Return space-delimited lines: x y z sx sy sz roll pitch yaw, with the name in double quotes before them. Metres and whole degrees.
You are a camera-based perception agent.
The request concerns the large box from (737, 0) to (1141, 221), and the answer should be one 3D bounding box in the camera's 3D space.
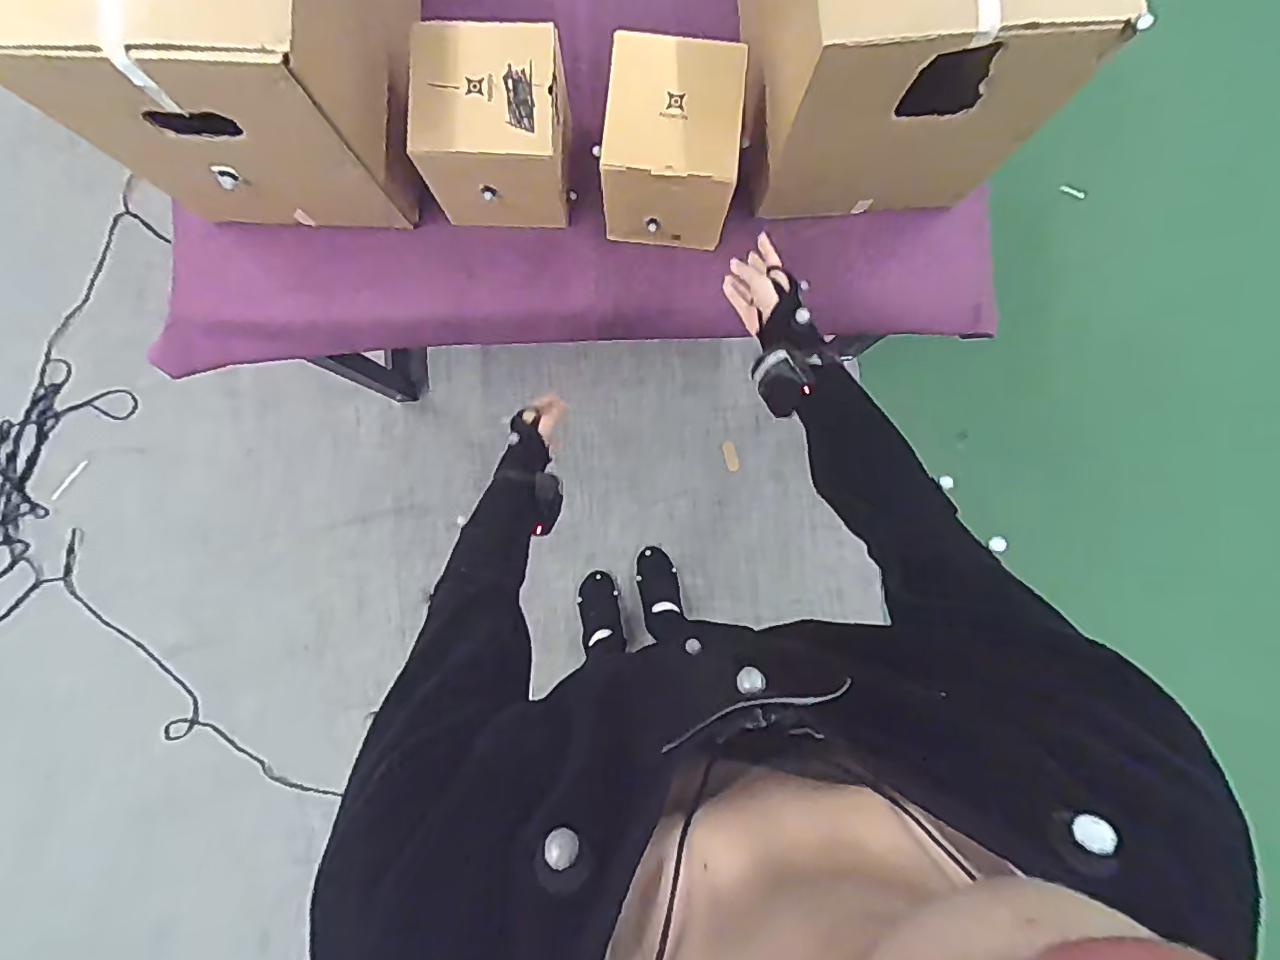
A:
"large box" 0.313 -0.603 0.675 0.320 0.320 0.408 -4 87 1
